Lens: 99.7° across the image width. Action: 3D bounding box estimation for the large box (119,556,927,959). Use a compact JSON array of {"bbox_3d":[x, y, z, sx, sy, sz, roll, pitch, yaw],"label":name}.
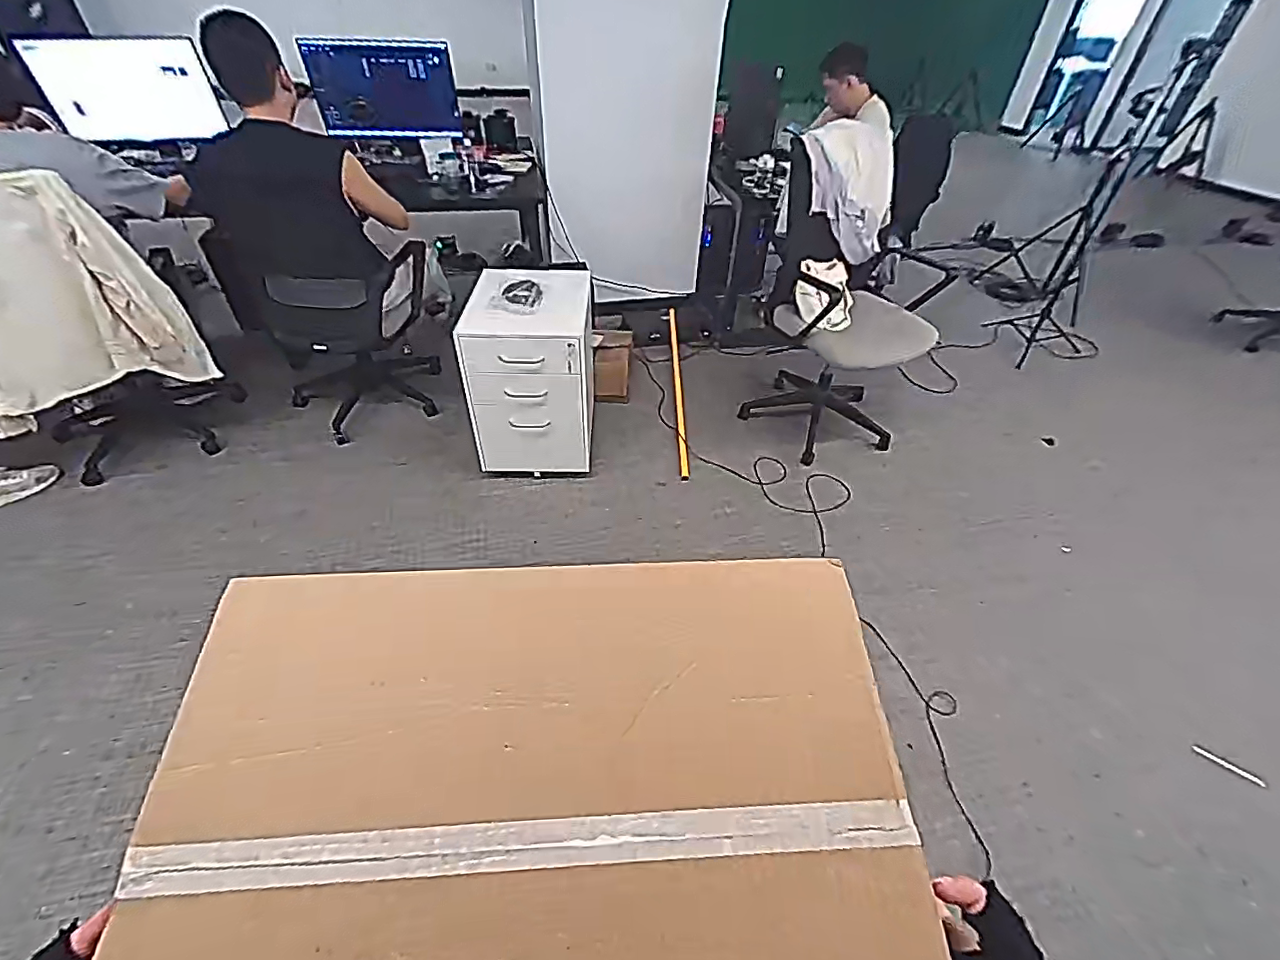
[{"bbox_3d":[-0.062,0.270,0.422,0.408,0.320,0.320,-2,59,-3],"label":"large box"}]
